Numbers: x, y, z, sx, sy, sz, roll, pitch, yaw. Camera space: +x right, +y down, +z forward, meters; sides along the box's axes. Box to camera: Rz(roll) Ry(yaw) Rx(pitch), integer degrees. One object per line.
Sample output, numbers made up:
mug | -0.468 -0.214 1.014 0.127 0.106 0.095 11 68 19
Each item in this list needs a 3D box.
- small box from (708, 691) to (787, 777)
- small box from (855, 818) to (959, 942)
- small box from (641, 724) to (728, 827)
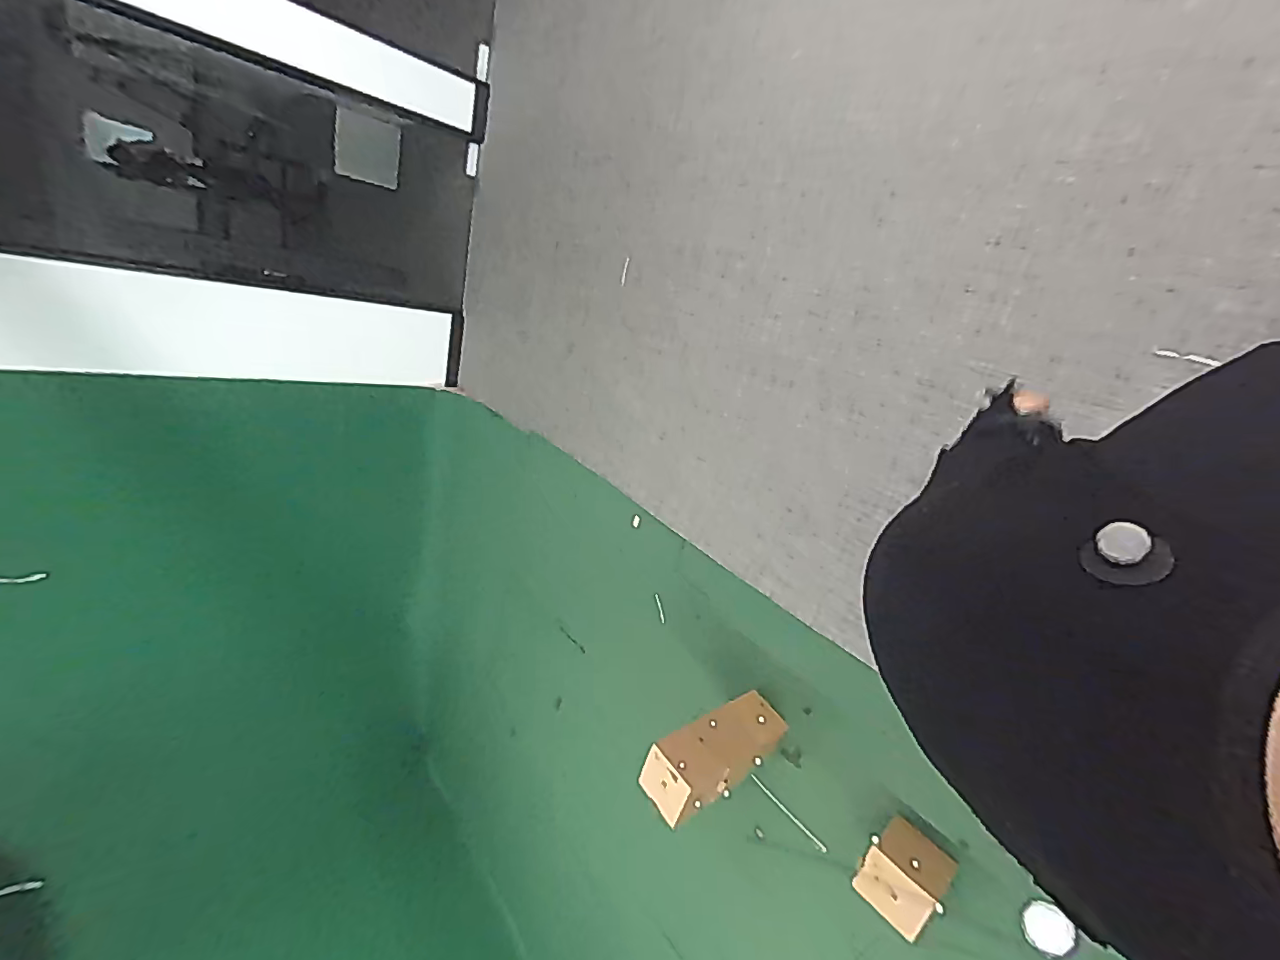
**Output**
small box | 0.368 0.849 1.824 0.168 0.176 0.179 42 123 37
small box | 0.722 1.067 1.458 0.179 0.176 0.168 32 116 41
small box | 0.134 0.865 1.594 0.168 0.176 0.179 38 121 40
